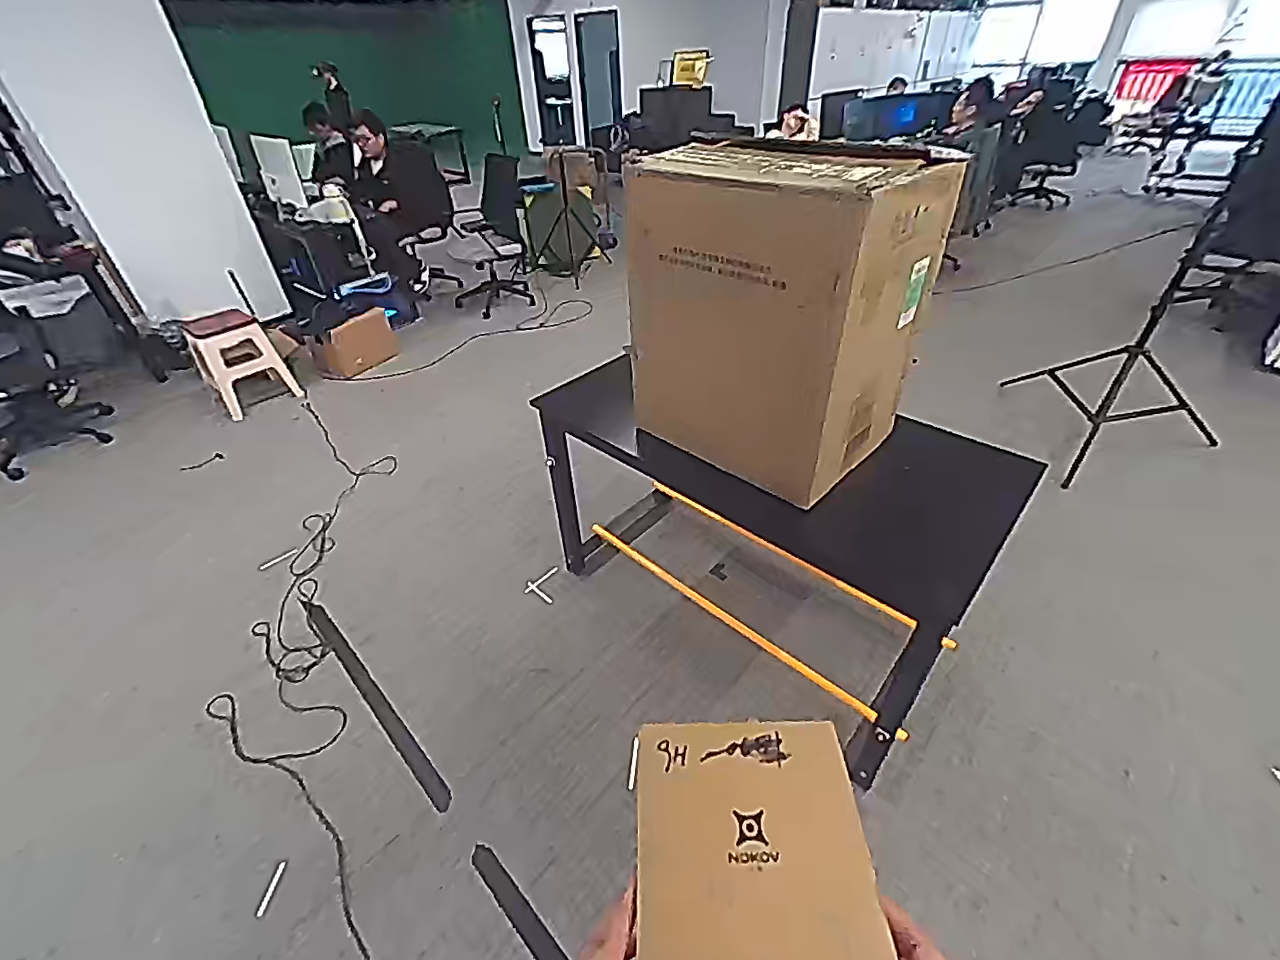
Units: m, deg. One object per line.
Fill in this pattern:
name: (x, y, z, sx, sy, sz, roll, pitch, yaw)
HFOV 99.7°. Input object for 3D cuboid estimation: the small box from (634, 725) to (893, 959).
small box: (0.084, 0.322, 0.438, 0.168, 0.176, 0.179, -2, 42, 2)
